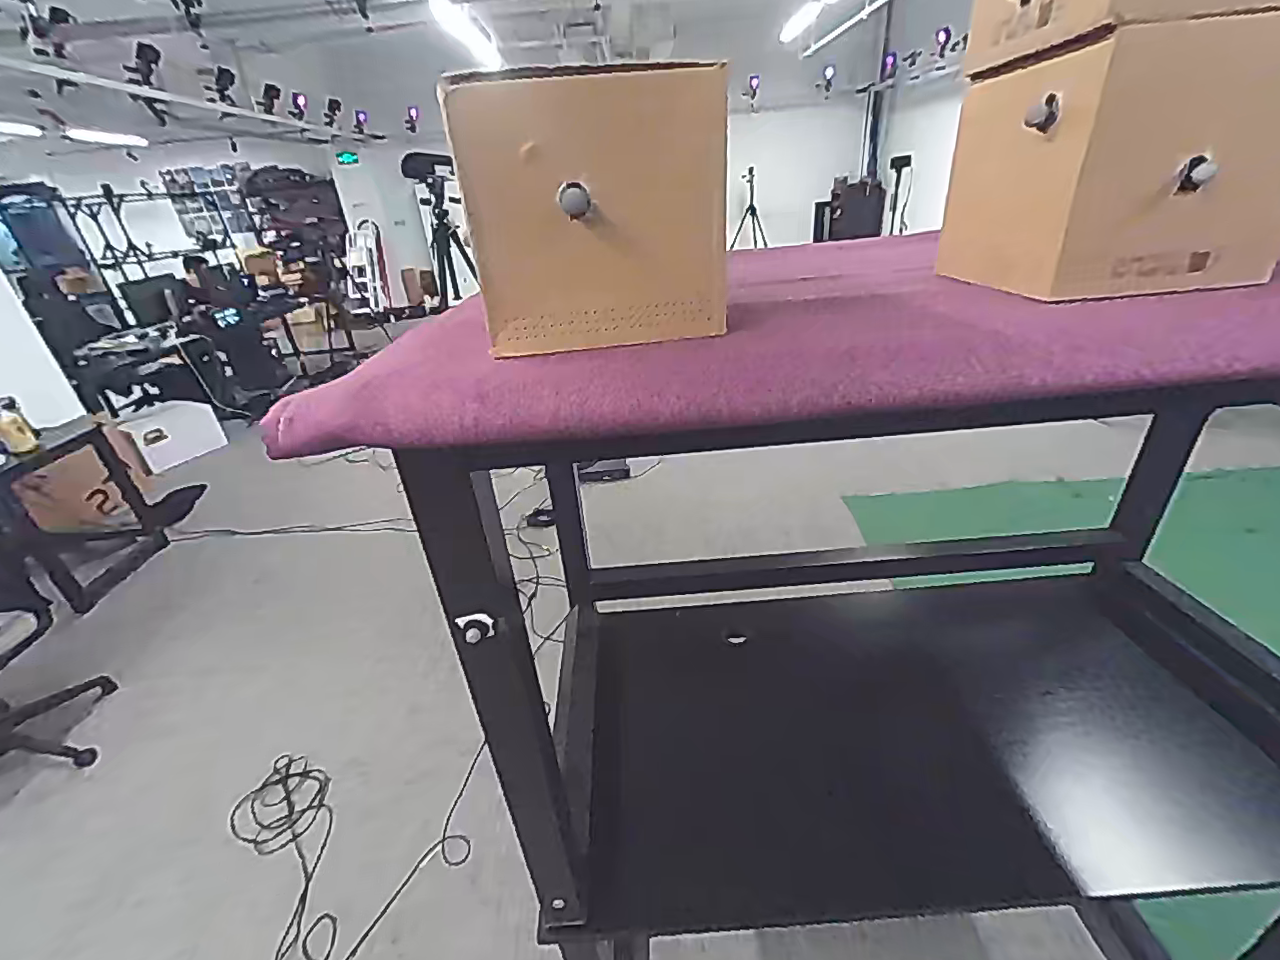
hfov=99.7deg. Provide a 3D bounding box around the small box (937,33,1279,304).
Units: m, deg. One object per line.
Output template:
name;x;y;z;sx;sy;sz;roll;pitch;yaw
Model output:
small box;0.382;-0.245;0.452;0.168;0.176;0.179;-3;28;1

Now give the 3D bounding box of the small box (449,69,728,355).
small box;-0.032;-0.205;0.435;0.179;0.176;0.168;-7;30;-4
